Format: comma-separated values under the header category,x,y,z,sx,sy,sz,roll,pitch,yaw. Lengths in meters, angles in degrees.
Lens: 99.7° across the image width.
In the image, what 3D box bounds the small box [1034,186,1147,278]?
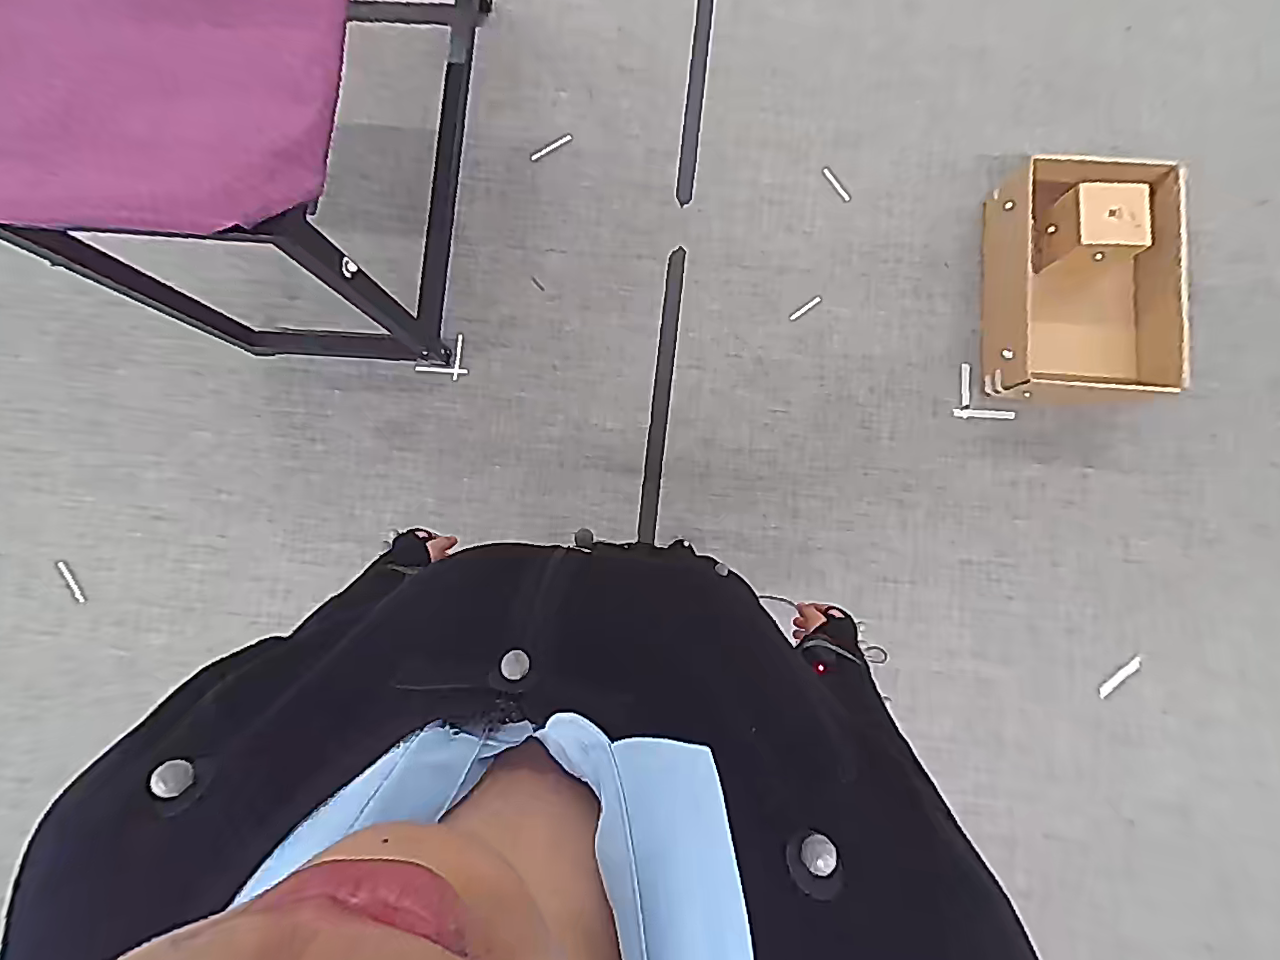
category,x,y,z,sx,sy,sz,roll,pitch,yaw
small box,1.196,-0.659,1.451,0.179,0.176,0.168,3,85,1
